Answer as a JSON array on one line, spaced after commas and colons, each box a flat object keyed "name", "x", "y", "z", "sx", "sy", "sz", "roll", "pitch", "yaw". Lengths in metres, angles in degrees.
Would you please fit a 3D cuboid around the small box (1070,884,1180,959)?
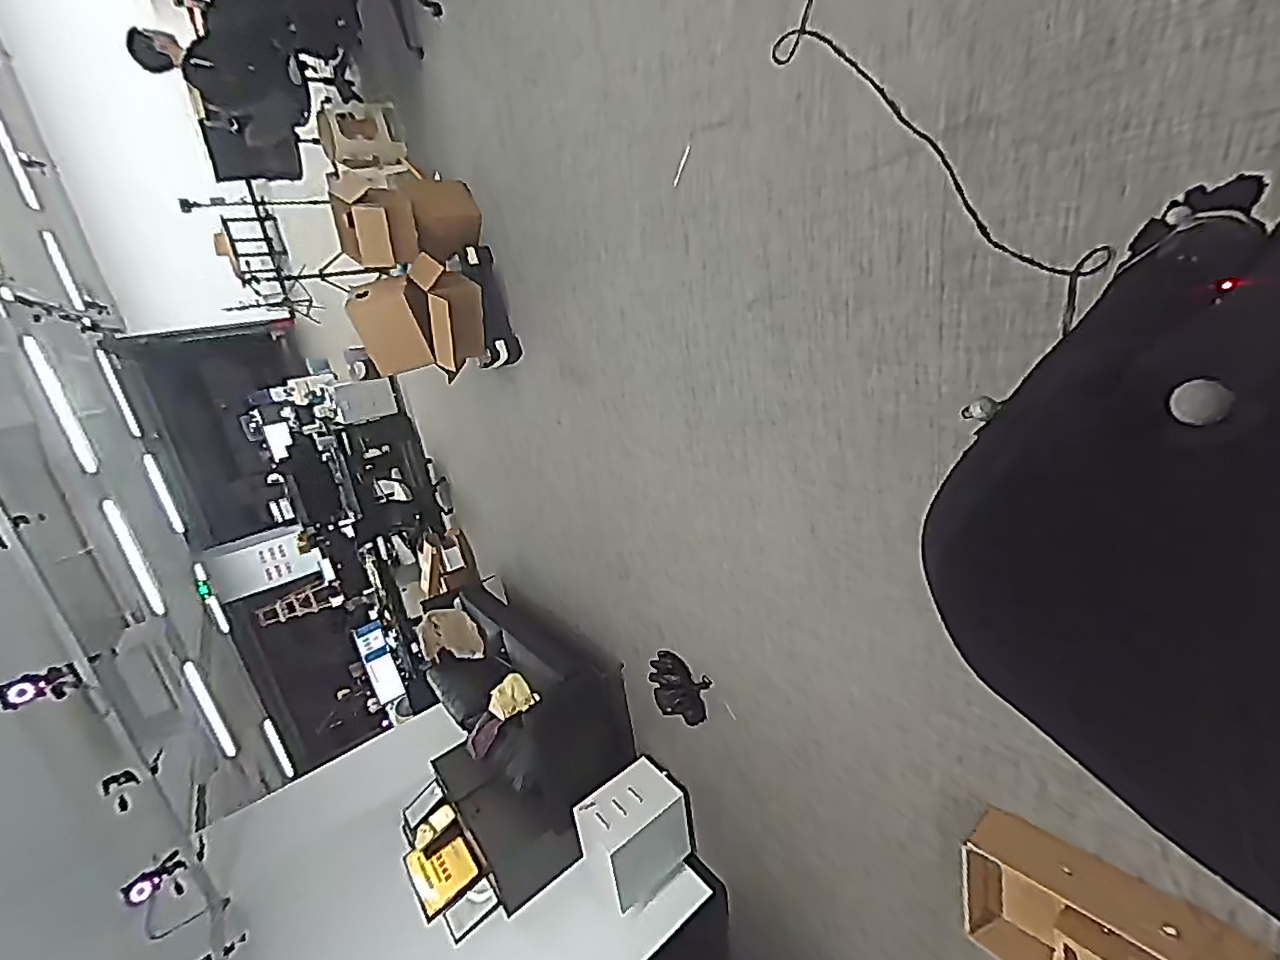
[{"name": "small box", "x": 1.253, "y": 1.203, "z": 1.400, "sx": 0.179, "sy": 0.176, "sz": 0.168, "roll": 11, "pitch": 119, "yaw": 52}]
